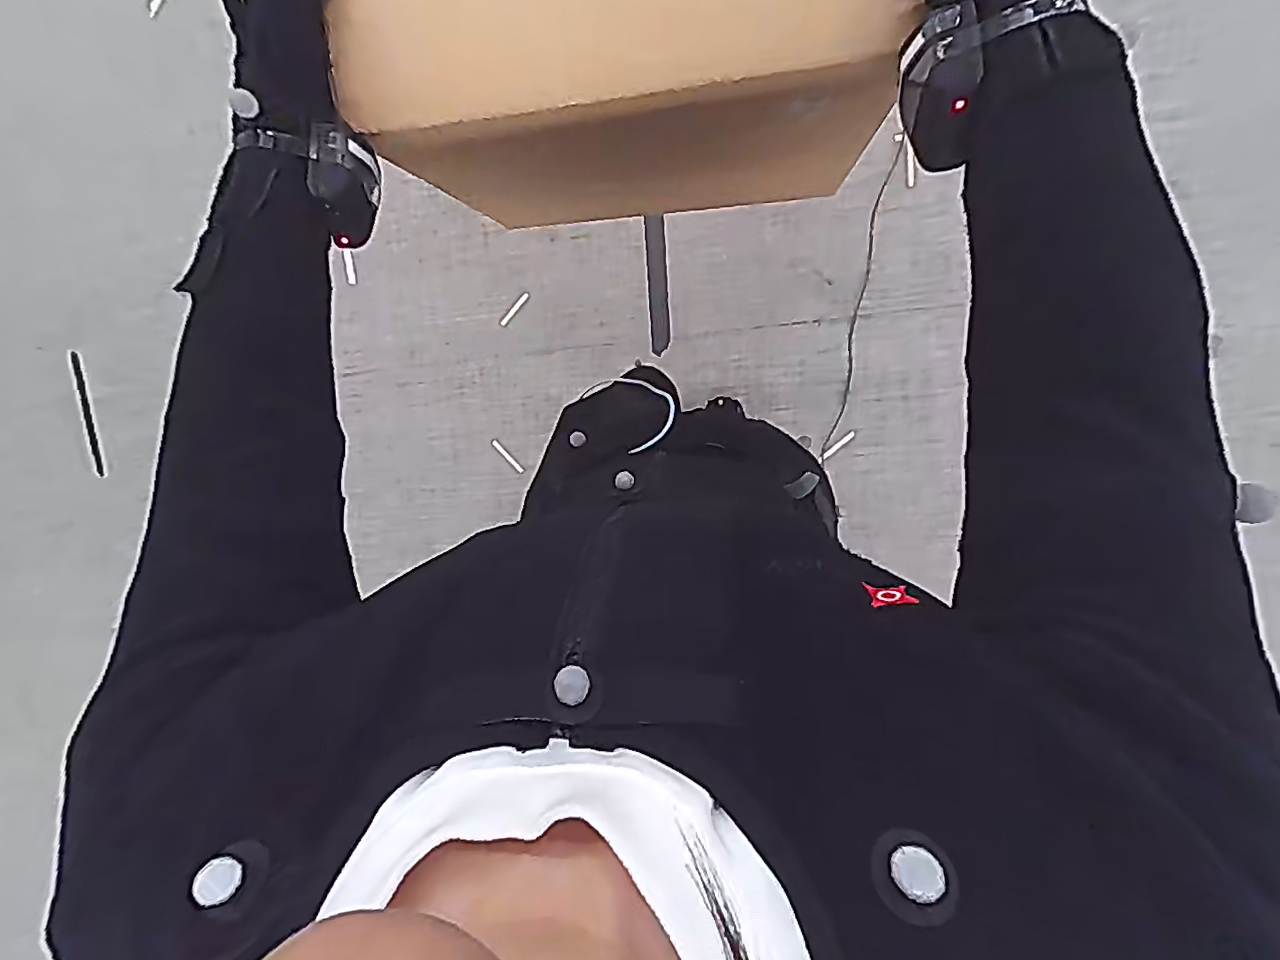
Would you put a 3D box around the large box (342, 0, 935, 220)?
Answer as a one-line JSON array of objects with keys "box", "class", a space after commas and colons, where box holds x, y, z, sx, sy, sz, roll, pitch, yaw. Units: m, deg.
[{"box": [-0.002, -0.455, 0.483, 0.408, 0.320, 0.320, -2, 103, 9], "class": "large box"}]
